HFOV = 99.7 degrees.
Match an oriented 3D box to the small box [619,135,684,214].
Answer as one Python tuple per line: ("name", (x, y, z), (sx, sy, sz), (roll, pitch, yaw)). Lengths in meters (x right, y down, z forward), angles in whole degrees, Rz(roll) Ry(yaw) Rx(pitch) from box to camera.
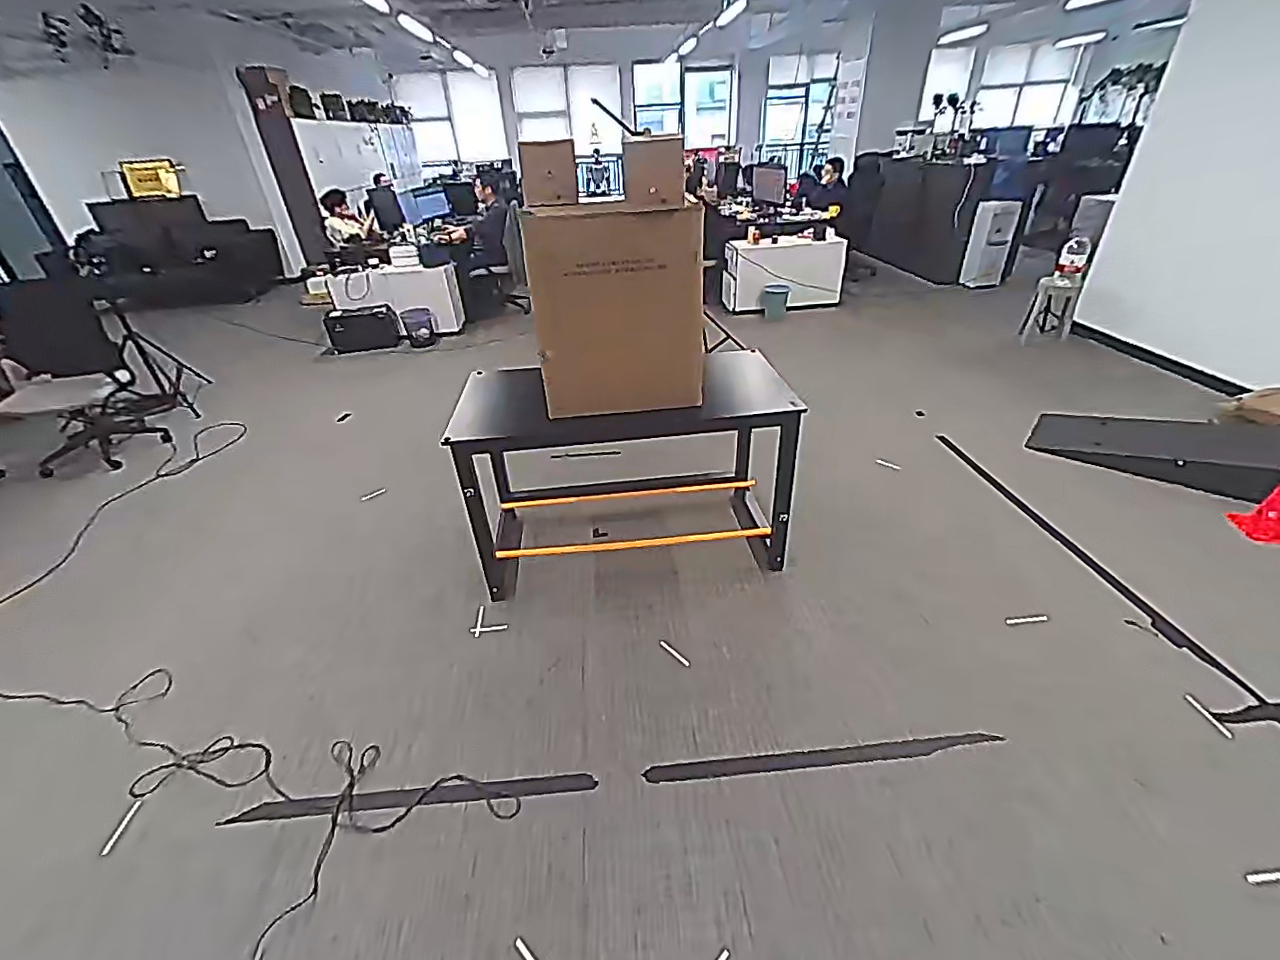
("small box", (0.033, -0.846, 1.498), (0.168, 0.176, 0.179), (-4, 37, 3))

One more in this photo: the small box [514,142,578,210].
("small box", (-0.286, -0.932, 1.660), (0.168, 0.176, 0.179), (-7, 33, -6))
